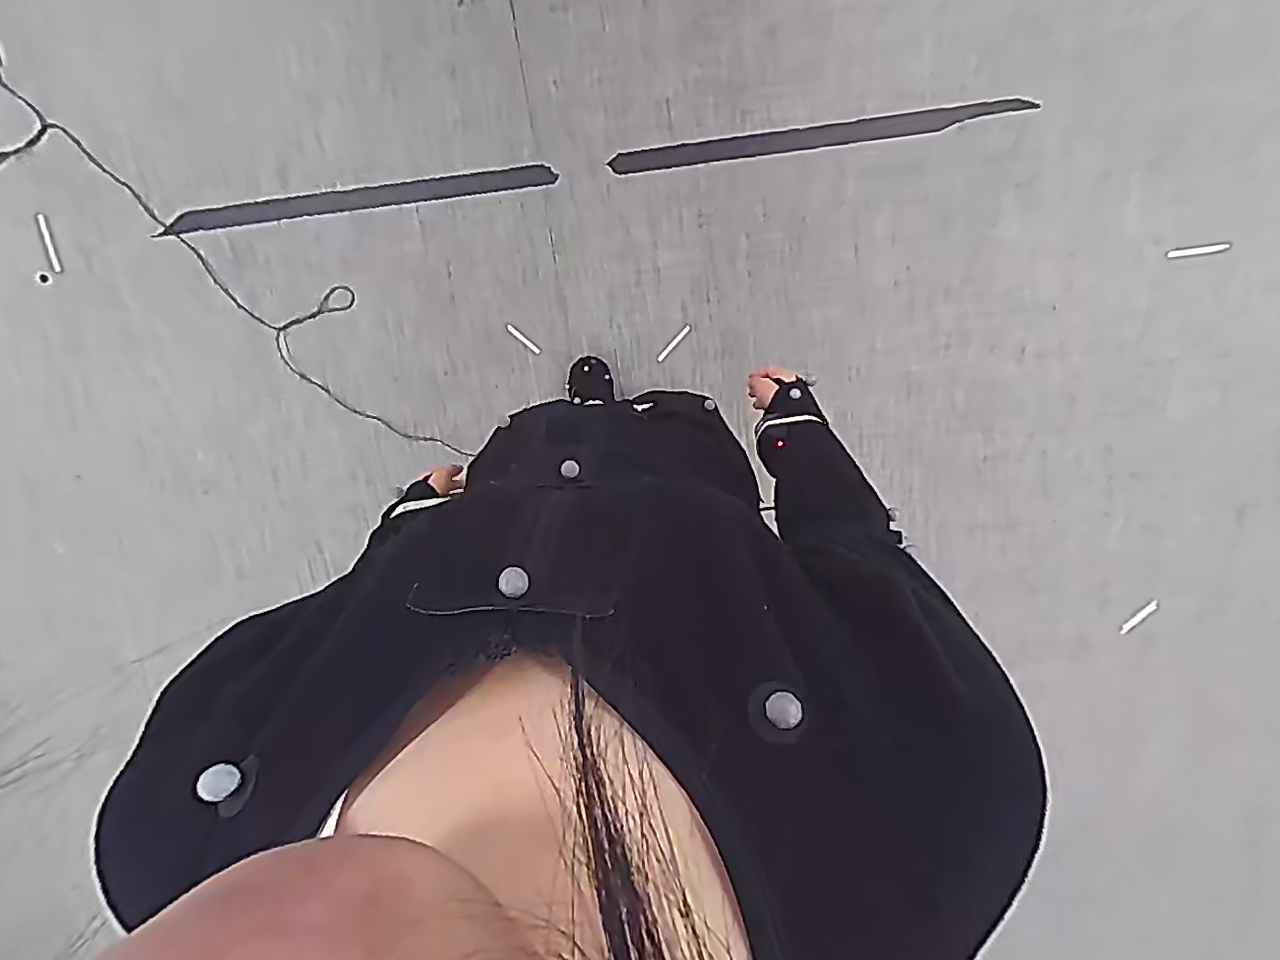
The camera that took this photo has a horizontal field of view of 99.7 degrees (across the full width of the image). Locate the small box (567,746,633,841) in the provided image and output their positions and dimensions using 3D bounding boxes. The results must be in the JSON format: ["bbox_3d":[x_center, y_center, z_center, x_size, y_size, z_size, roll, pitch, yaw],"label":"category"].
[{"bbox_3d":[-0.113,0.938,1.625,0.168,0.176,0.179,-9,103,2],"label":"small box"}]
